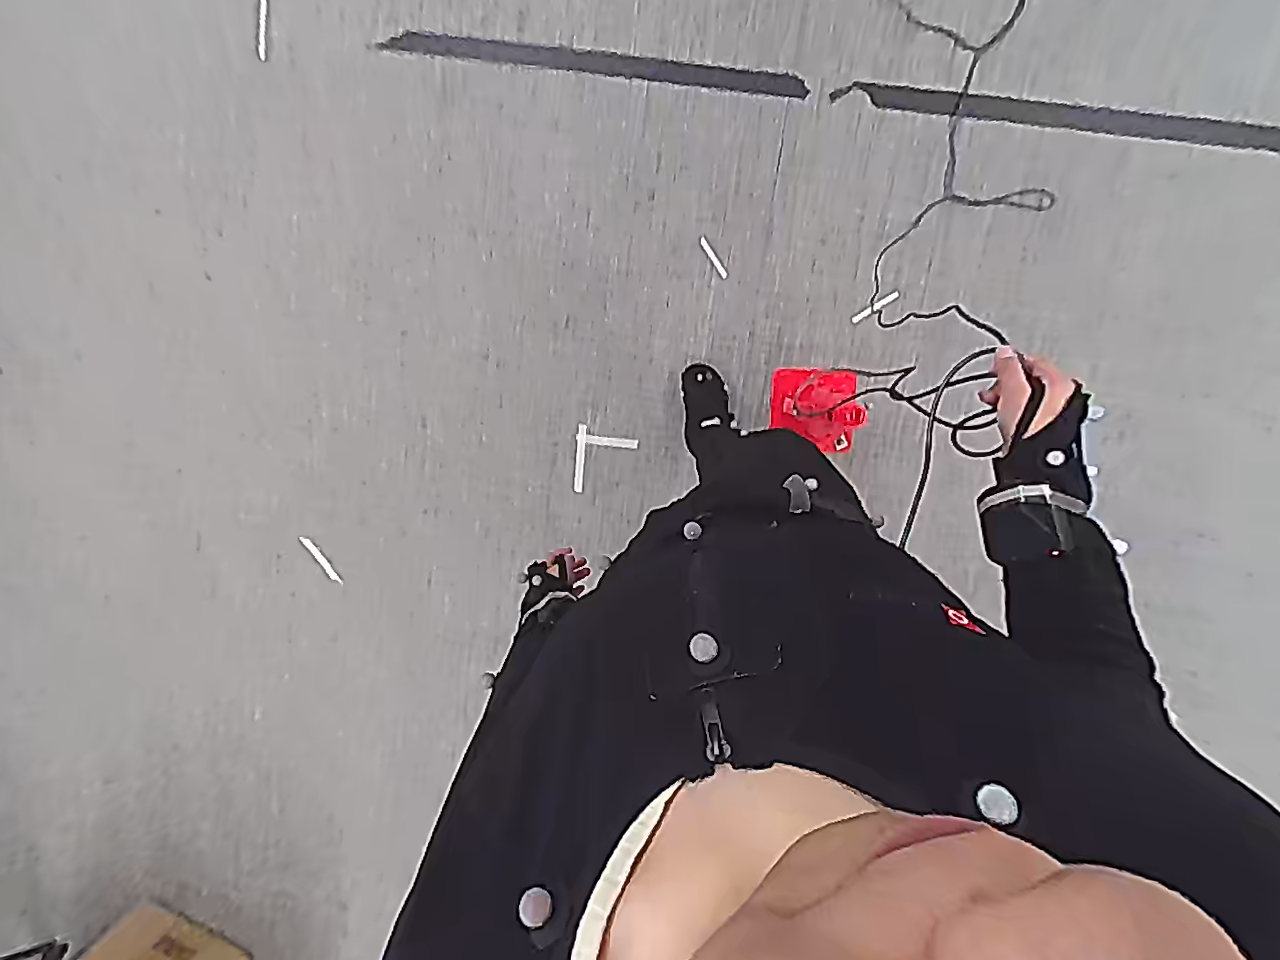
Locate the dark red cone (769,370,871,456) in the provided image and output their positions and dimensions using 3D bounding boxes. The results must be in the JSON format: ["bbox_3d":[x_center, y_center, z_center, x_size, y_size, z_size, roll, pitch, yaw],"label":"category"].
[{"bbox_3d":[0.393,-0.135,1.108,0.202,0.394,0.201,1,97,5],"label":"dark red cone"}]
